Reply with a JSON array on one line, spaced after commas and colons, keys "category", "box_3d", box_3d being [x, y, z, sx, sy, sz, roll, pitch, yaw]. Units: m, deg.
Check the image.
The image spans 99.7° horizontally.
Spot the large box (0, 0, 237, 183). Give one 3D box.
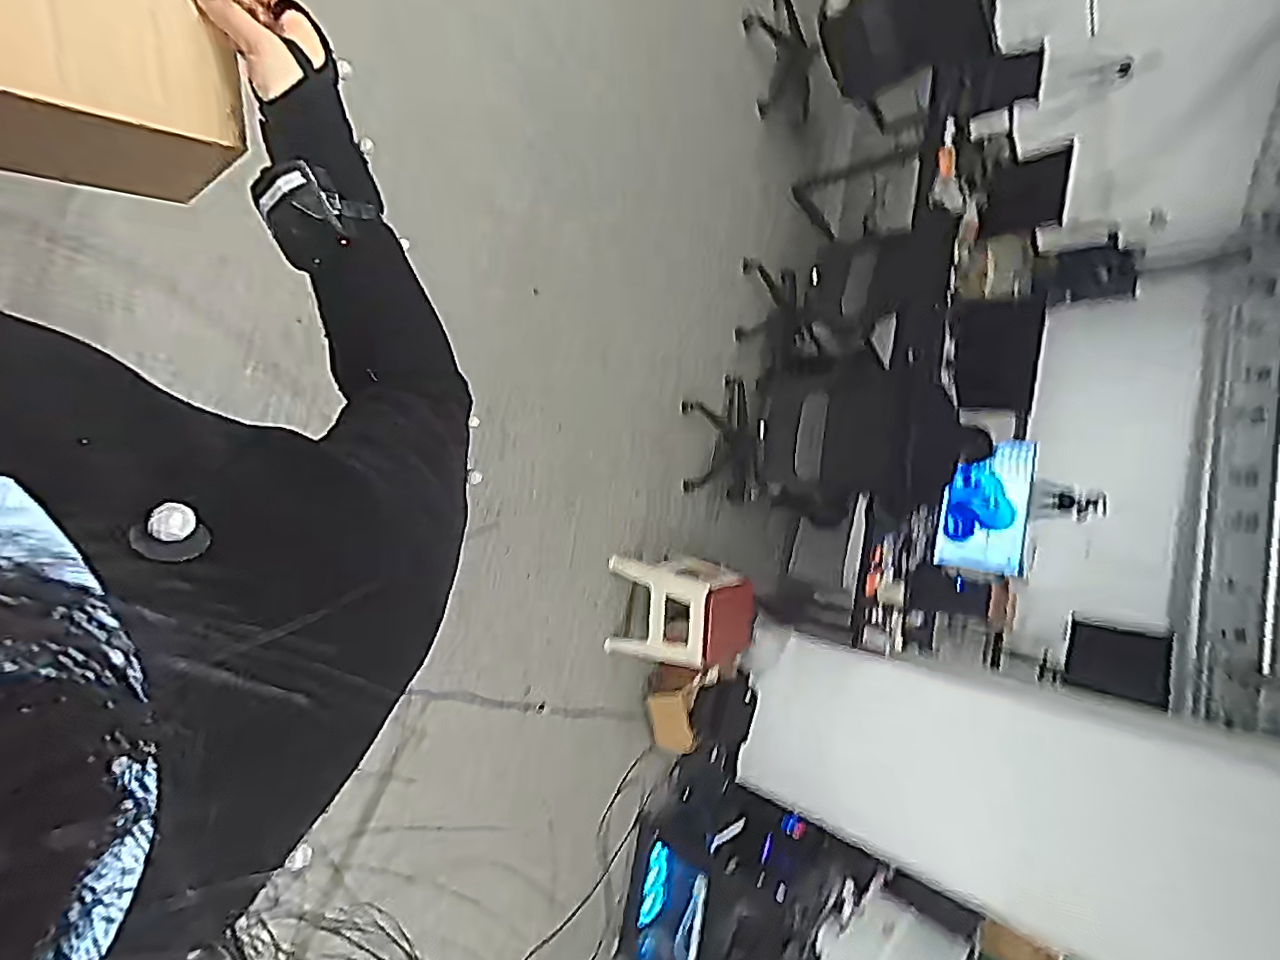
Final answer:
[{"category": "large box", "box_3d": [-0.559, -0.423, 0.357, 0.408, 0.320, 0.320, -12, 110, -44]}]
